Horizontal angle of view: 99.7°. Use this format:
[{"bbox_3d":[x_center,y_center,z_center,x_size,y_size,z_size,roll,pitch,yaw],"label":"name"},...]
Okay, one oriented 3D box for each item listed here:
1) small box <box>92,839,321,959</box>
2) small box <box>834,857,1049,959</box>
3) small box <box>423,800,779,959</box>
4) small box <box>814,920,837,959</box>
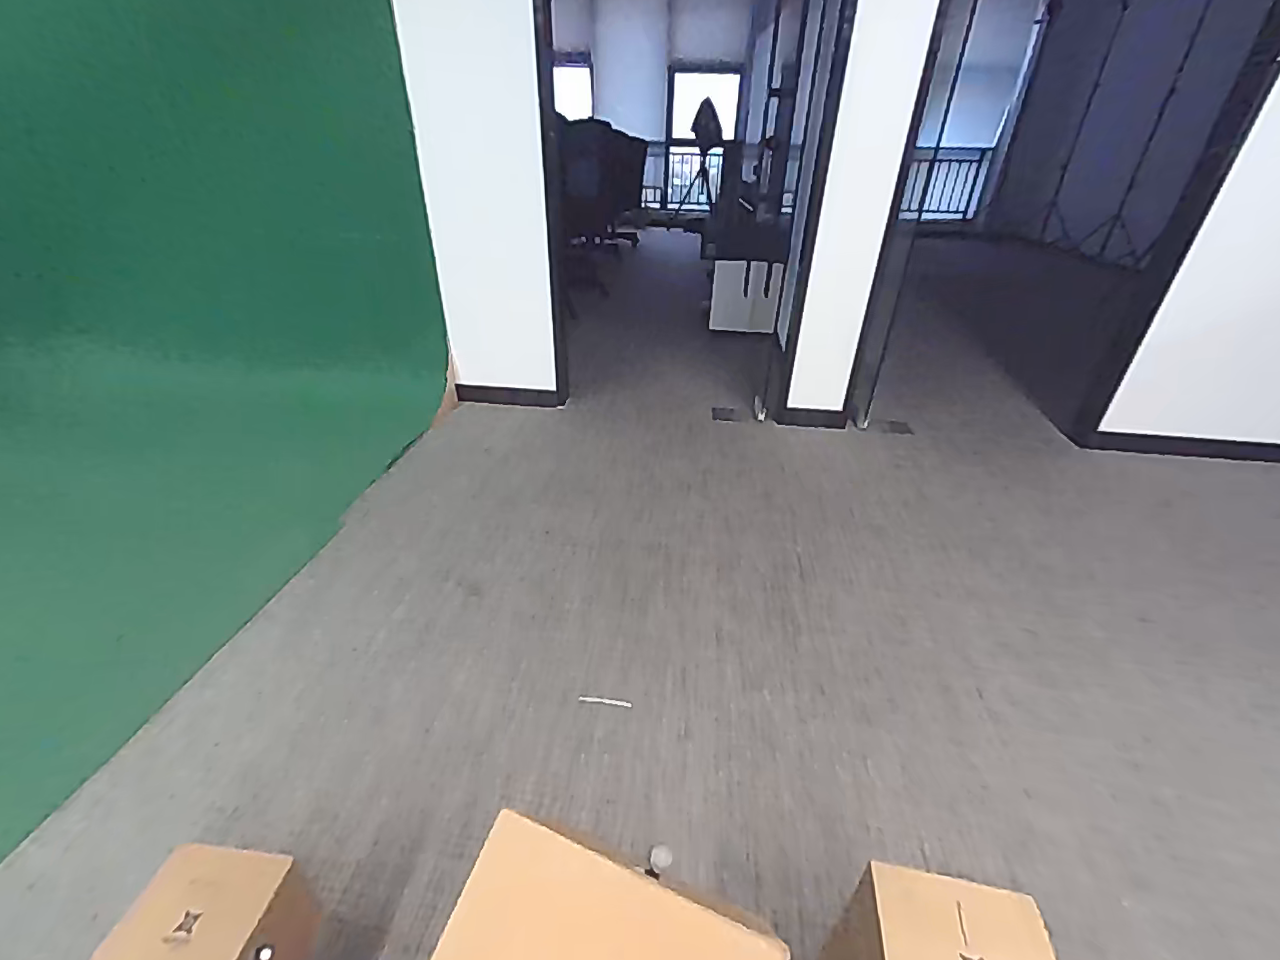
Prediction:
[{"bbox_3d":[-0.552,0.610,0.700,0.168,0.176,0.179,5,31,4],"label":"small box"},{"bbox_3d":[0.303,0.533,0.546,0.168,0.176,0.179,7,31,9],"label":"small box"},{"bbox_3d":[-0.029,0.327,0.327,0.179,0.176,0.168,16,57,18],"label":"small box"},{"bbox_3d":[0.301,0.672,0.635,0.168,0.176,0.179,7,32,8],"label":"small box"}]
